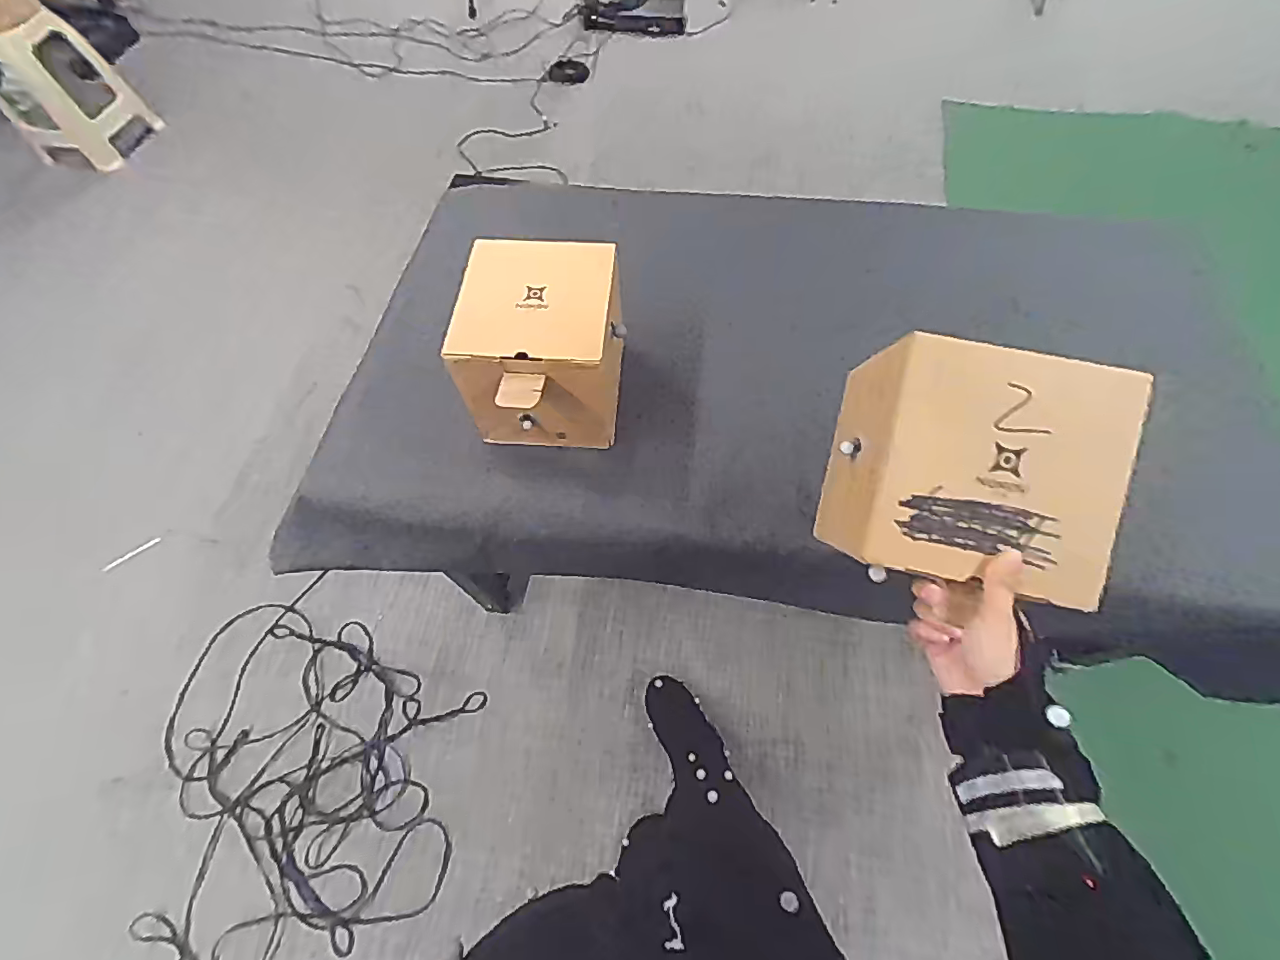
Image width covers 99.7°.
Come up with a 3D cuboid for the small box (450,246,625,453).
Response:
[{"bbox_3d":[-0.107,-0.153,0.656,0.168,0.176,0.179,3,62,2],"label":"small box"}]
